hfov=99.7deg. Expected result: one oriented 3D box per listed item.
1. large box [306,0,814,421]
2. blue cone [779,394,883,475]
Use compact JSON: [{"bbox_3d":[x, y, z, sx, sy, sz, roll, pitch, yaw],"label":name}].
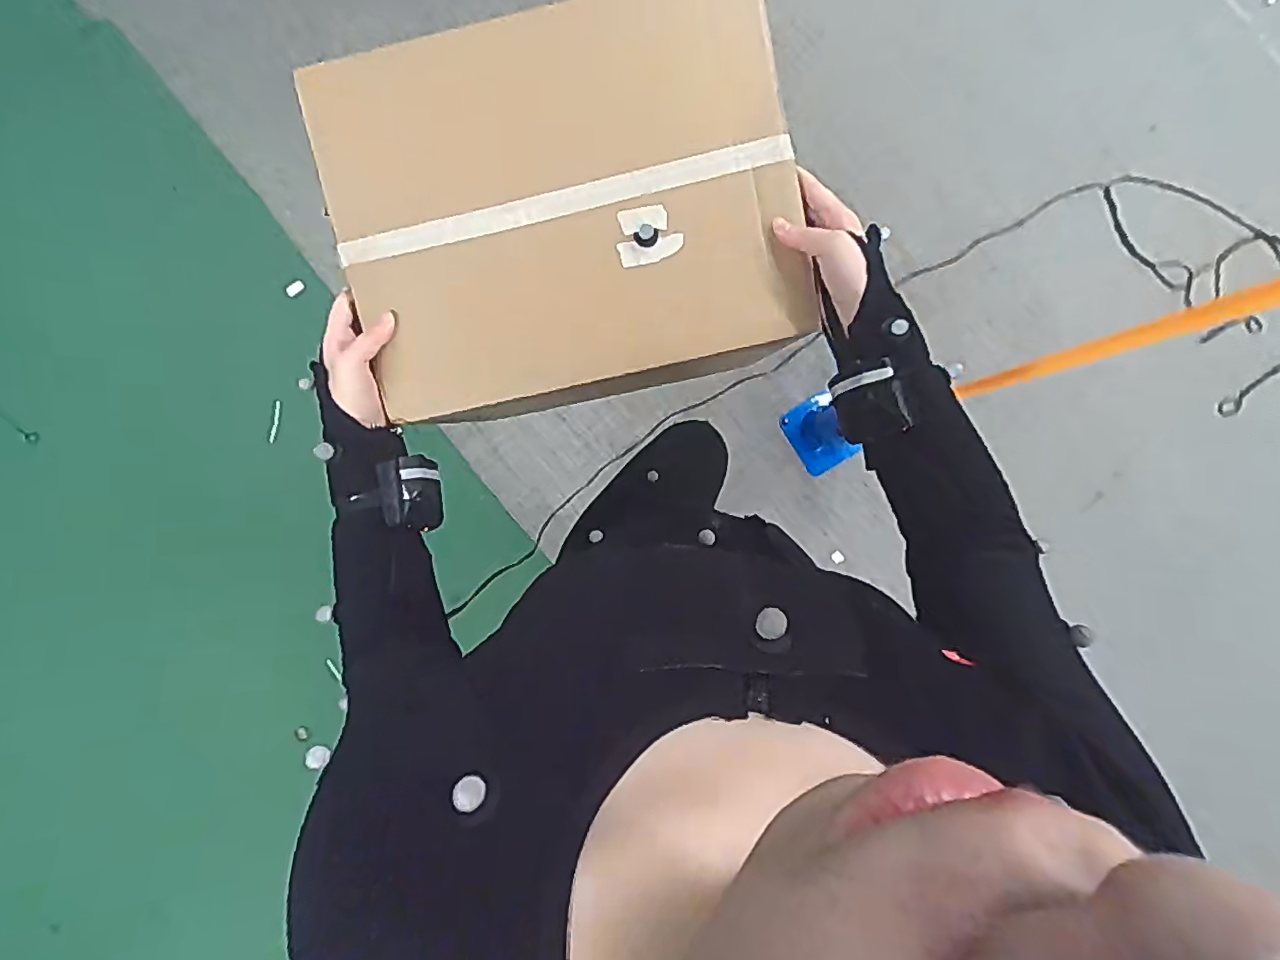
[{"bbox_3d":[-0.069,-0.264,0.630,0.408,0.320,0.320,-13,97,1],"label":"large box"},{"bbox_3d":[0.513,-0.132,1.351,0.192,0.380,0.193,-30,90,-1],"label":"blue cone"}]
